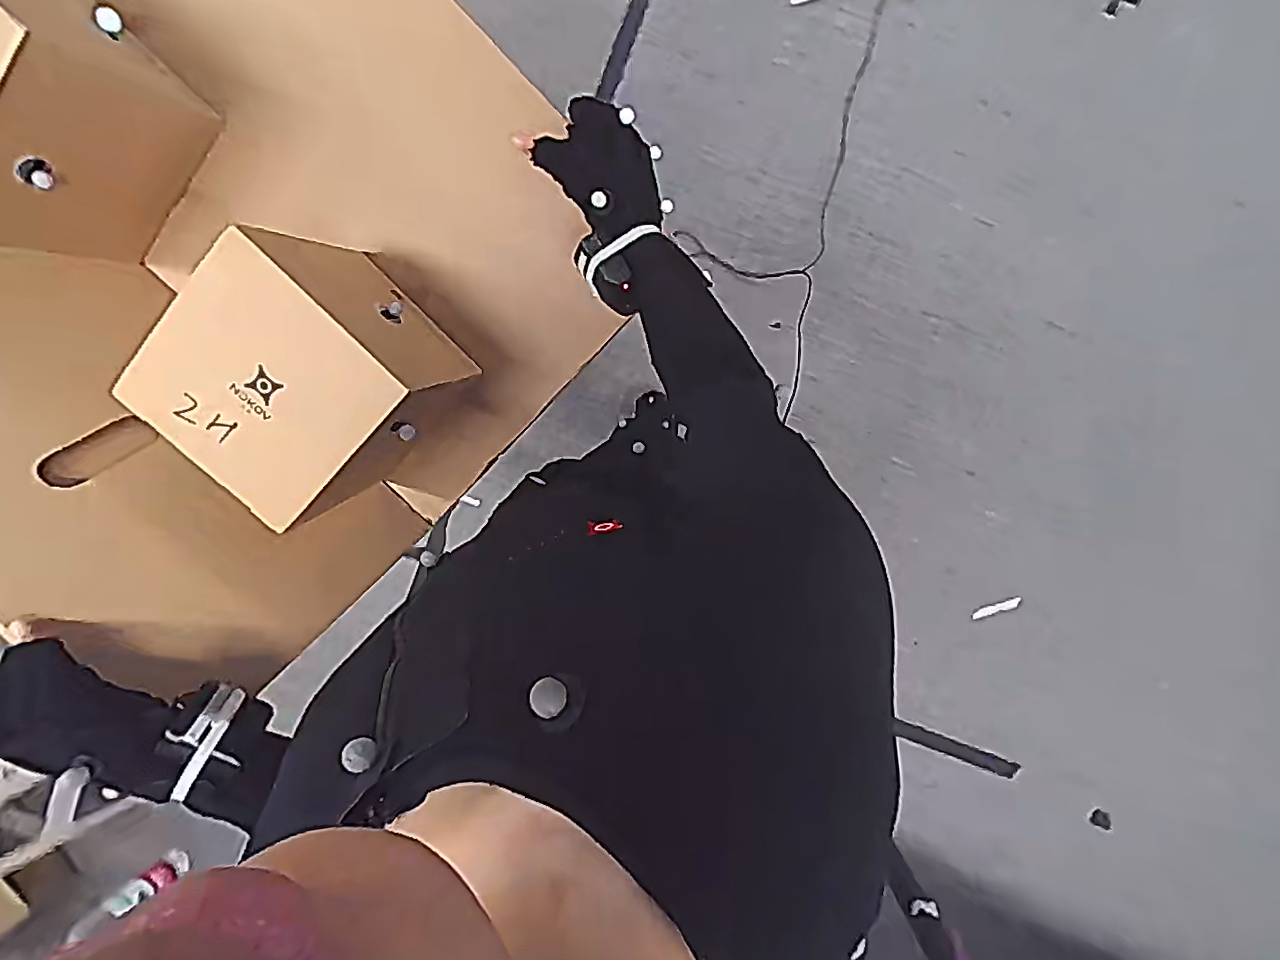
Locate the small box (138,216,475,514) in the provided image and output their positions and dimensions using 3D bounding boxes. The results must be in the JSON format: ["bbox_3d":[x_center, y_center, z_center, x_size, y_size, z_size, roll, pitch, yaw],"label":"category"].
[{"bbox_3d":[-0.278,-0.104,0.500,0.179,0.176,0.168,-40,99,14],"label":"small box"}]
